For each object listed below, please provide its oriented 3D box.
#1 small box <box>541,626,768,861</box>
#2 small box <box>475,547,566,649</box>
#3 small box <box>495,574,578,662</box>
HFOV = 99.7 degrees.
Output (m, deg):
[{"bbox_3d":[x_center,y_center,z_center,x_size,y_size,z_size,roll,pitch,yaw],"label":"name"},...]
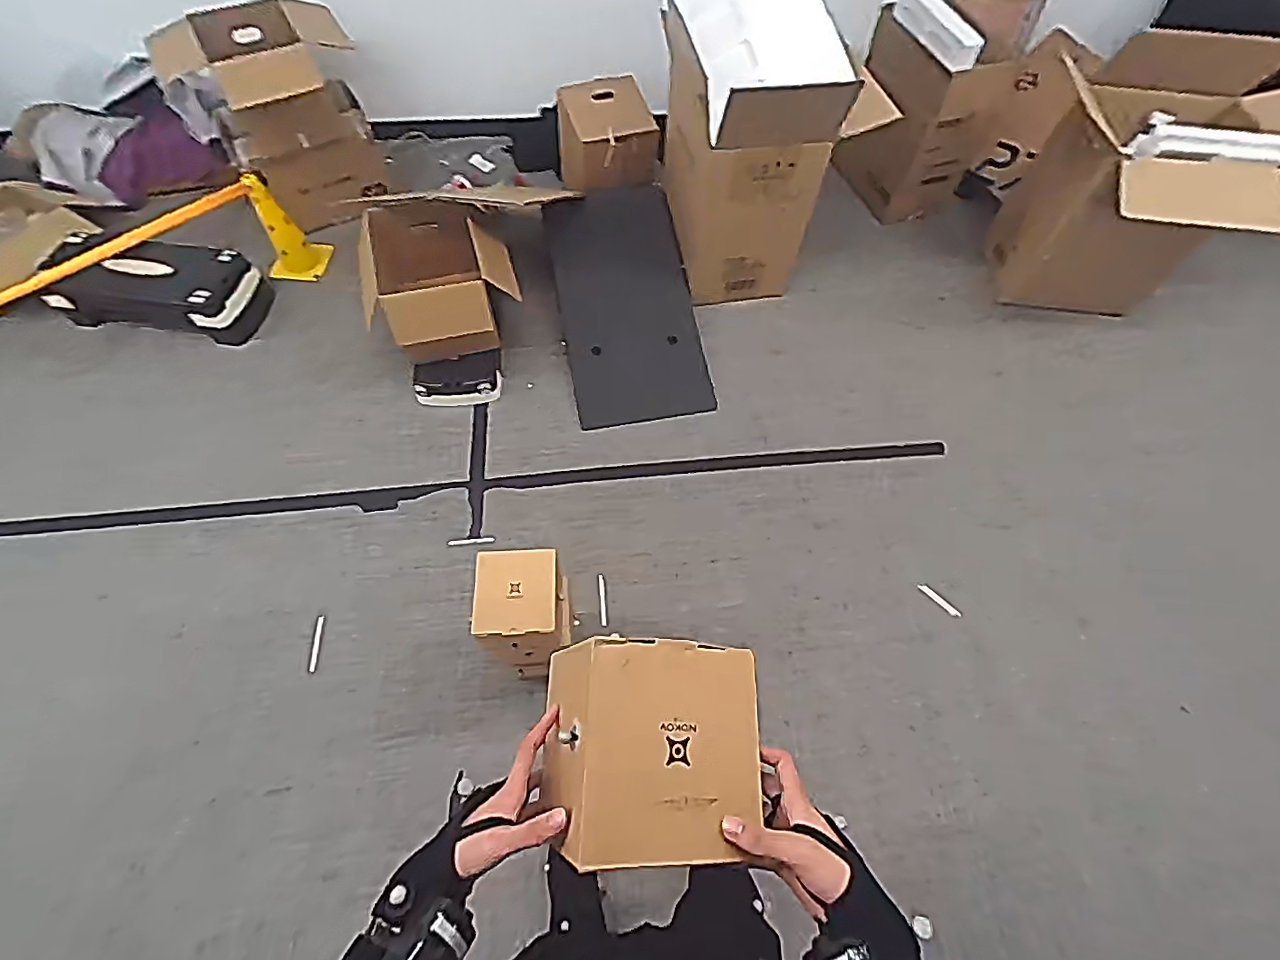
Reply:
[{"bbox_3d":[0.005,0.251,0.532,0.168,0.176,0.179,11,65,-19],"label":"small box"},{"bbox_3d":[-0.249,0.257,1.166,0.168,0.176,0.179,-2,63,-4],"label":"small box"},{"bbox_3d":[-0.245,0.338,1.307,0.179,0.176,0.168,-4,62,-5],"label":"small box"}]
